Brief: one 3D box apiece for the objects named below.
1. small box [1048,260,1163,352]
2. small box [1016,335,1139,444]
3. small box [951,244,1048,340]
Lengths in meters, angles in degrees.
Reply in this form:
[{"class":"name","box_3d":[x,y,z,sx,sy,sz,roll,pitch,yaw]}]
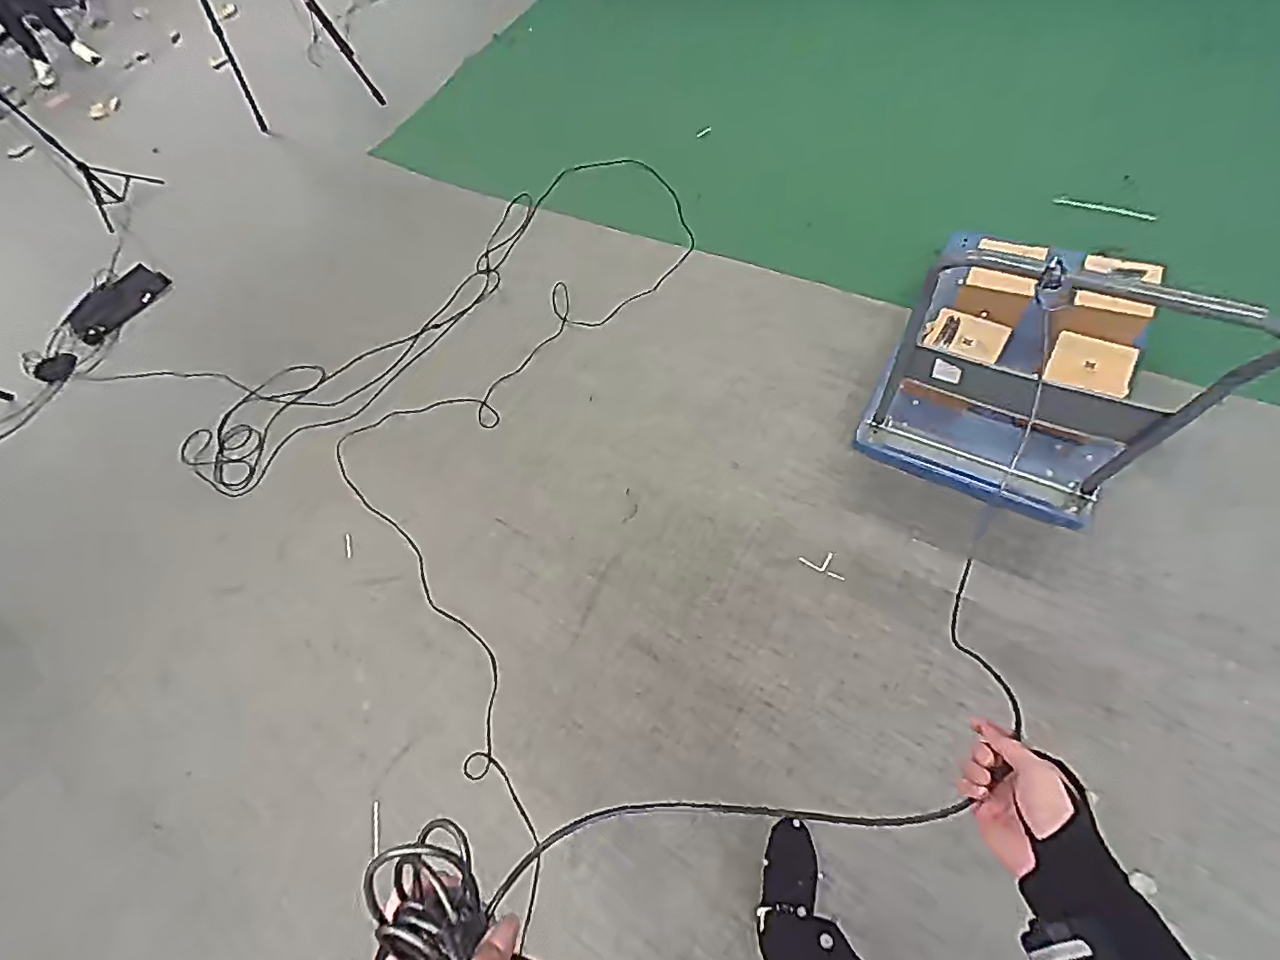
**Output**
[{"class":"small box","box_3d":[1.220,-0.442,1.429,0.168,0.176,0.179,21,71,22]},{"class":"small box","box_3d":[1.082,-0.223,1.352,0.168,0.176,0.179,26,73,23]},{"class":"small box","box_3d":[1.001,-0.525,1.521,0.168,0.176,0.179,21,70,21]}]
